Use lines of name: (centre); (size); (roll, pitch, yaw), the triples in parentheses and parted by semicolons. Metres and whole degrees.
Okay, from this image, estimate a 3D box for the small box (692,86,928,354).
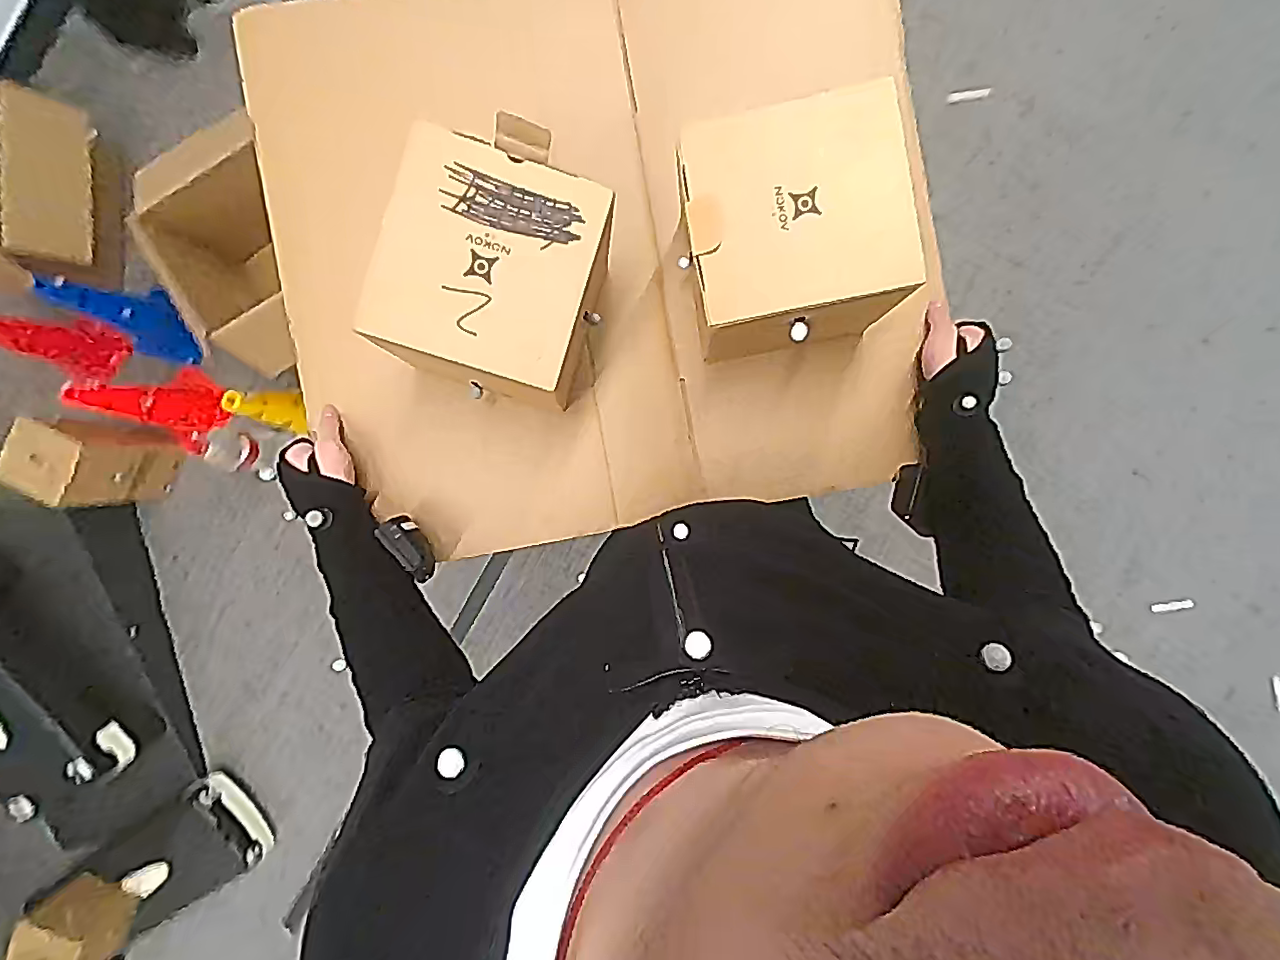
small box: (0.147, -0.230, 0.526); (0.179, 0.176, 0.168); (-9, 91, 7)
